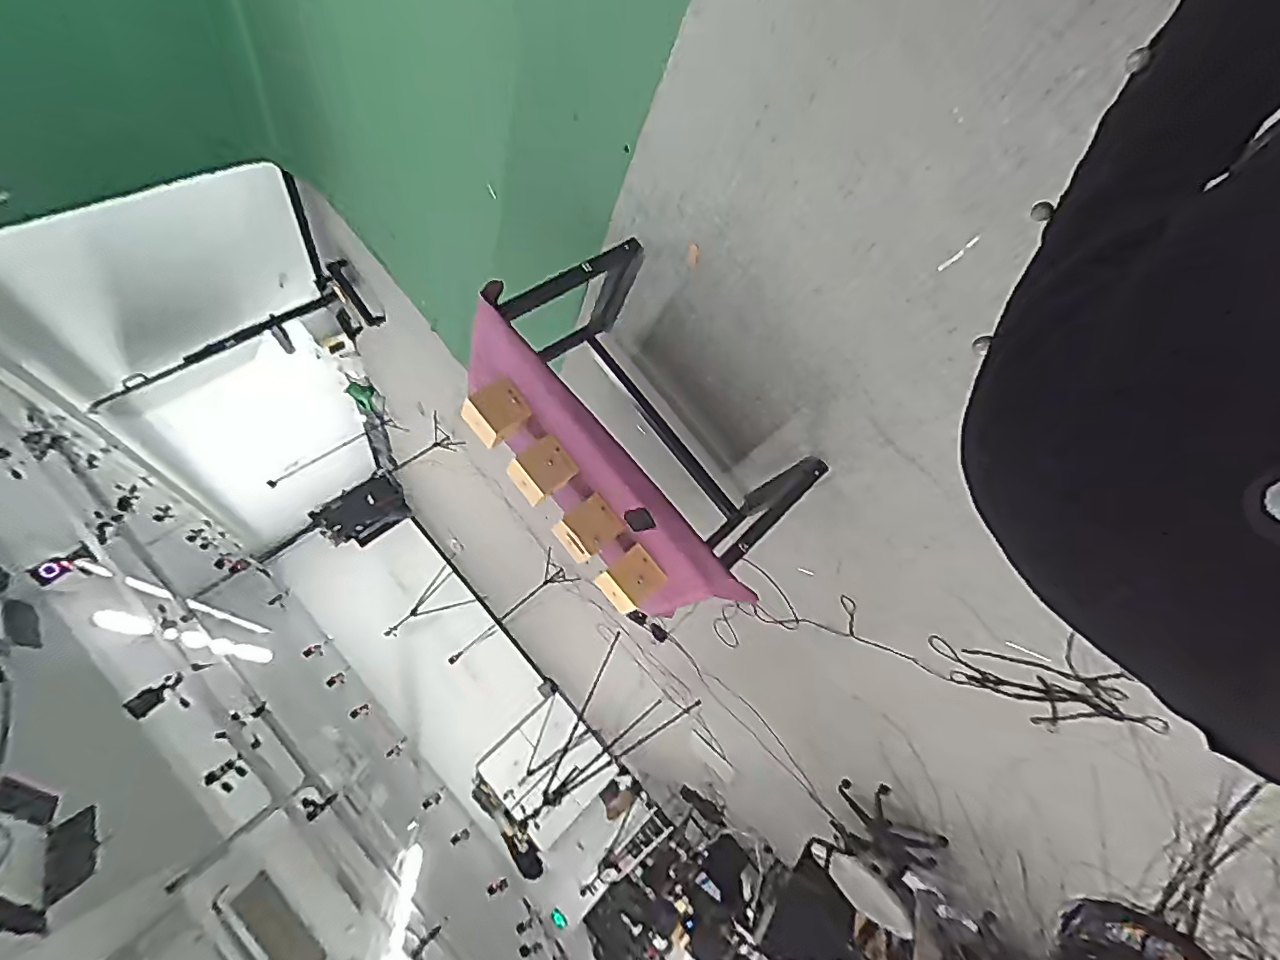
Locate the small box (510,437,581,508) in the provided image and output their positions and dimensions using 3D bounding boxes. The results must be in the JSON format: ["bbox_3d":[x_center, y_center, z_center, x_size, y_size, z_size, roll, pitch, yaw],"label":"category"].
[{"bbox_3d":[-0.335,-0.027,1.935,0.168,0.176,0.179,53,152,0],"label":"small box"}]

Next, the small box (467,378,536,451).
[{"bbox_3d":[-0.495,-0.233,1.936,0.168,0.176,0.179,52,152,-2],"label":"small box"}]

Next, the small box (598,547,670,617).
[{"bbox_3d":[-0.018,0.360,1.919,0.168,0.176,0.179,49,153,5],"label":"small box"}]
